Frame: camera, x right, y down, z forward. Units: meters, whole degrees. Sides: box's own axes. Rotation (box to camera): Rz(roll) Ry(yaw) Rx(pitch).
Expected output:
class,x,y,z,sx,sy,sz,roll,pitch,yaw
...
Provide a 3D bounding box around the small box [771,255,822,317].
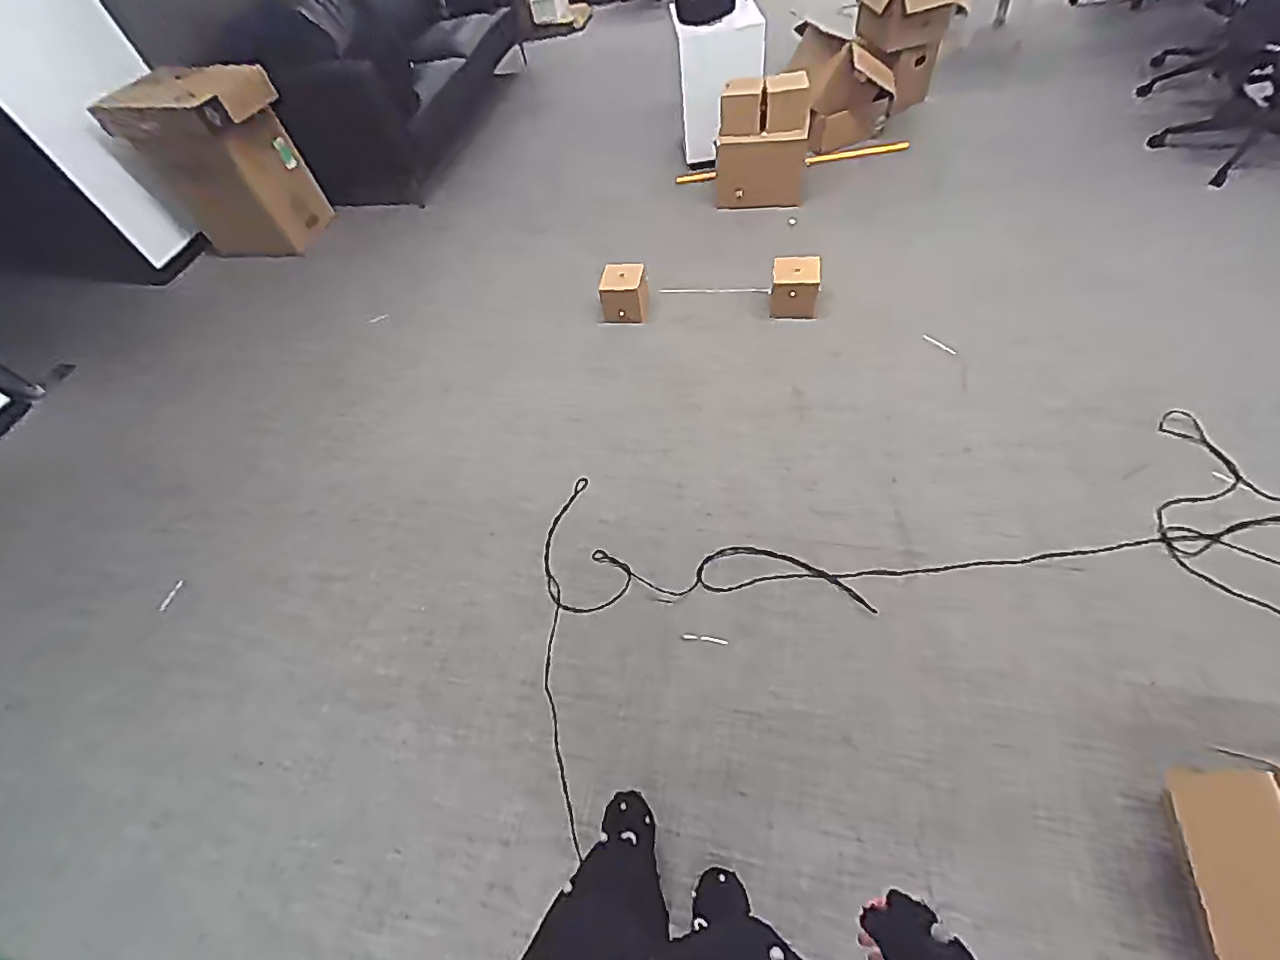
class,x,y,z,sx,sy,sz,roll,pitch,yaw
small box,0.610,-0.757,2.120,0.179,0.176,0.168,3,56,12

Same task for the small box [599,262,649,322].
class,x,y,z,sx,sy,sz,roll,pitch,yaw
small box,-0.062,-0.784,2.253,0.168,0.176,0.179,3,56,12
